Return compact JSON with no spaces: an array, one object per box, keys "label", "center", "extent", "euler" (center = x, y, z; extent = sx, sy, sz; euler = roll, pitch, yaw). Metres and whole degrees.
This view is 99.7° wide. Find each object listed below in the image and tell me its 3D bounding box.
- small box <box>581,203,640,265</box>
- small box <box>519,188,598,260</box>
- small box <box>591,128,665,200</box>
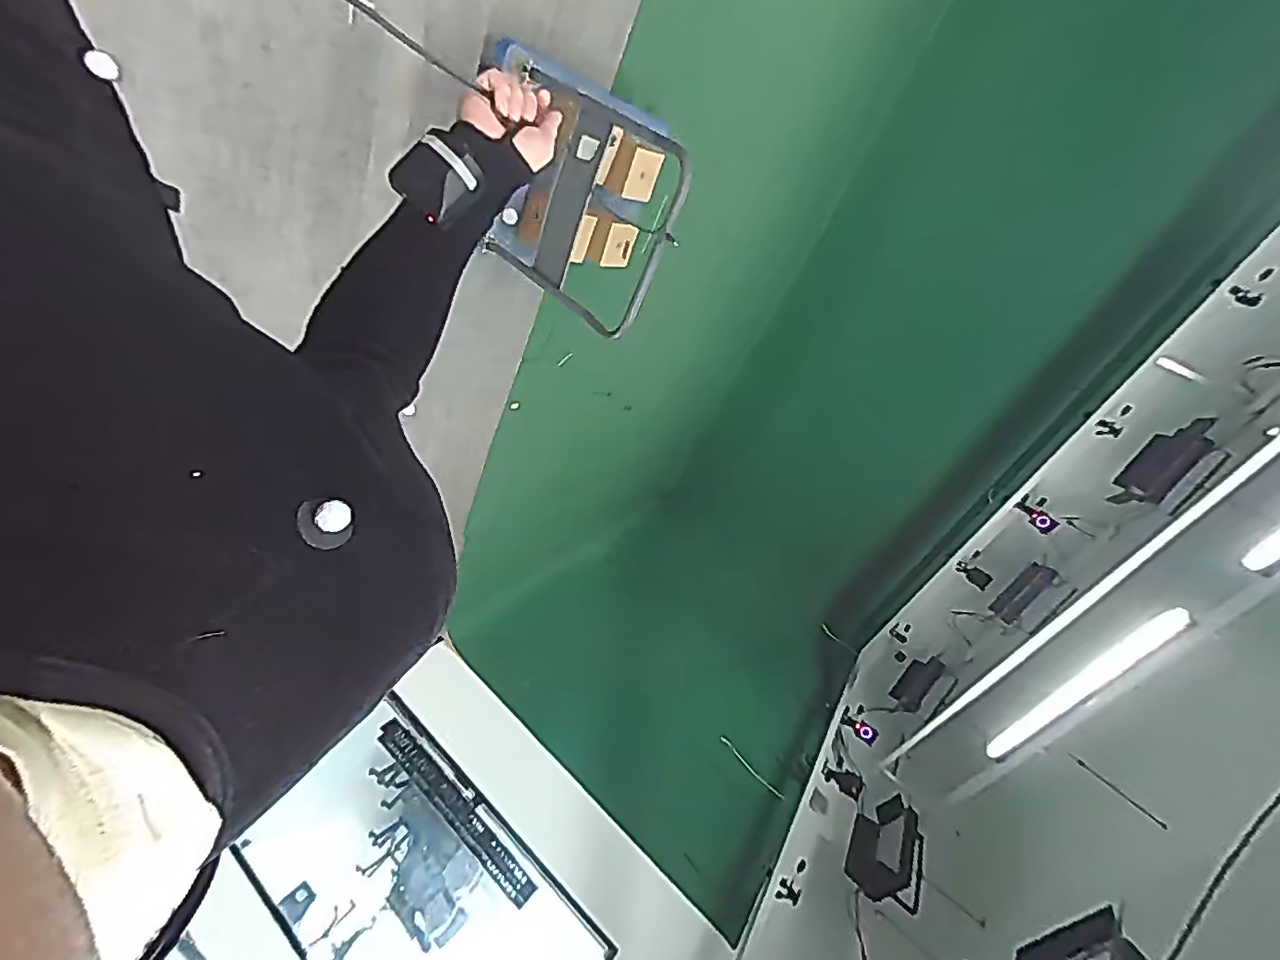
[{"label":"small box","center":[-0.137,-0.950,2.088],"extent":[0.179,0.176,0.168],"euler":[-26,148,-50]},{"label":"small box","center":[-0.285,-0.885,1.872],"extent":[0.179,0.176,0.168],"euler":[-22,146,-54]},{"label":"small box","center":[-0.048,-1.139,1.947],"extent":[0.179,0.176,0.168],"euler":[-27,151,-50]}]
